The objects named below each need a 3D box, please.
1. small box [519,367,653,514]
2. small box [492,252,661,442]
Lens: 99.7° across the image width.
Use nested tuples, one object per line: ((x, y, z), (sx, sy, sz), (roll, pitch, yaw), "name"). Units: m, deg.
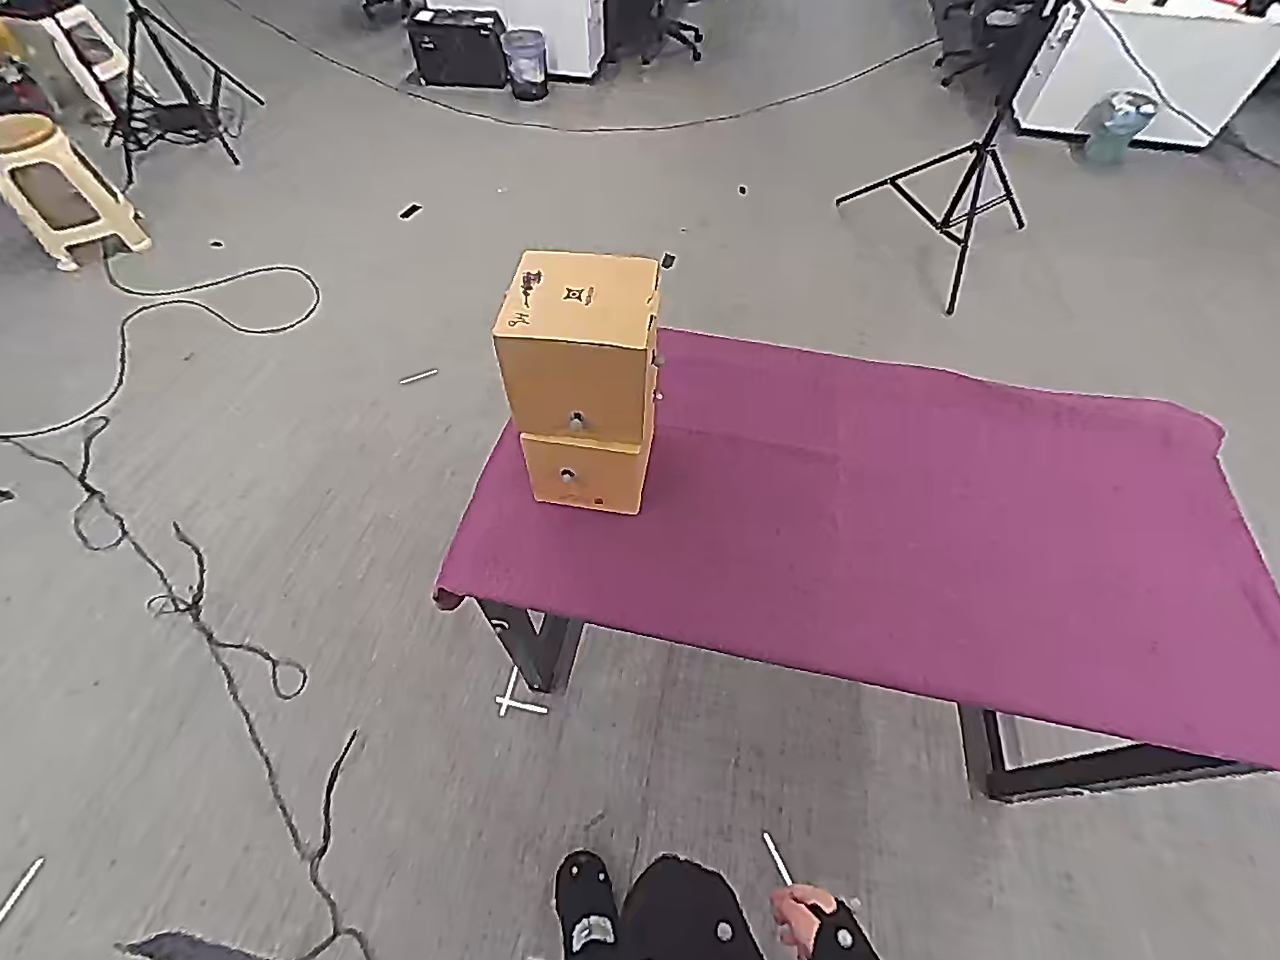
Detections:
((-0.072, -0.067, 0.835), (0.168, 0.176, 0.179), (8, 55, 4), "small box")
((-0.073, -0.166, 0.704), (0.179, 0.176, 0.168), (6, 55, 2), "small box")
